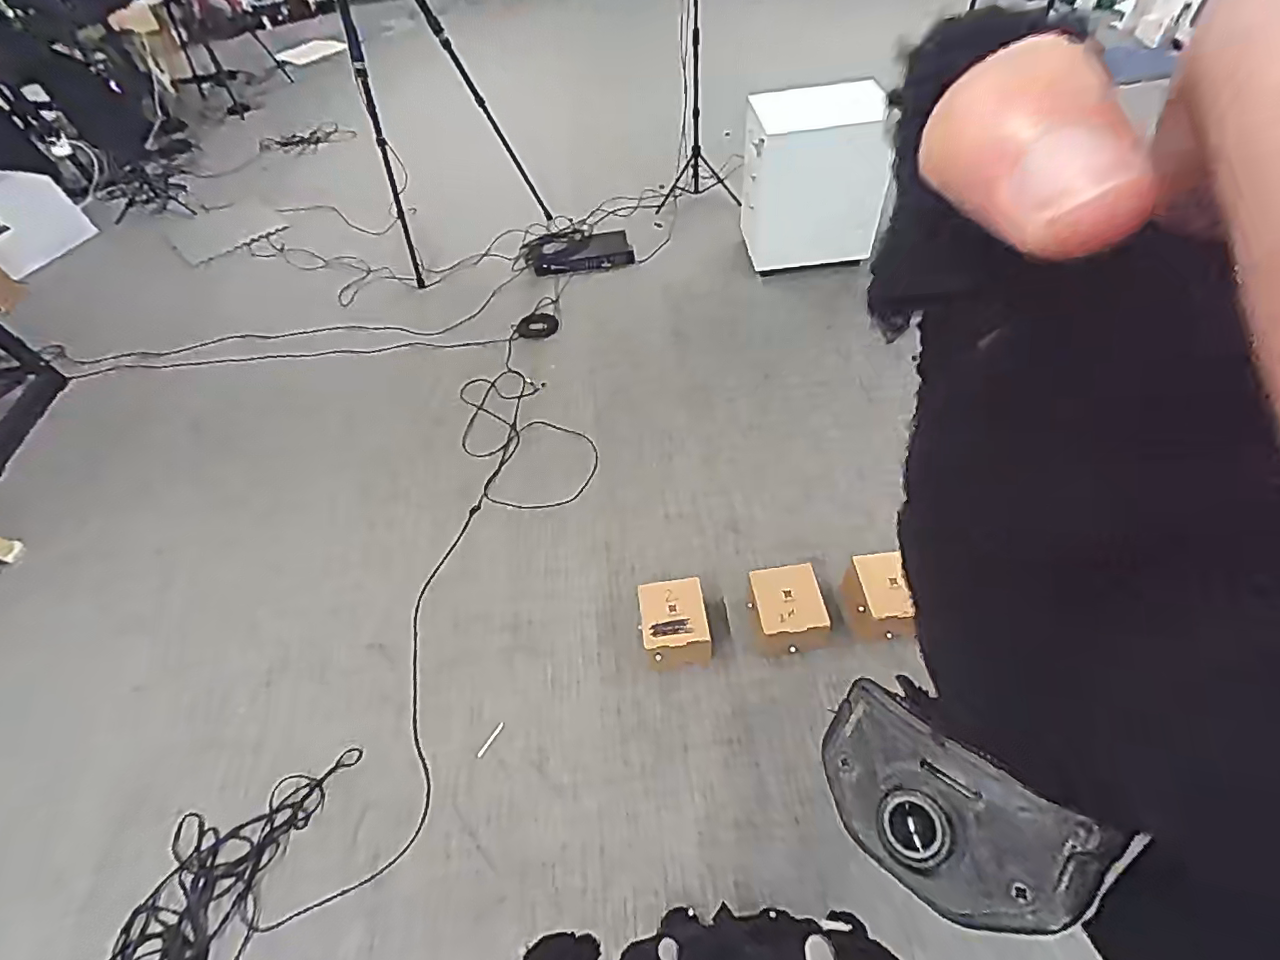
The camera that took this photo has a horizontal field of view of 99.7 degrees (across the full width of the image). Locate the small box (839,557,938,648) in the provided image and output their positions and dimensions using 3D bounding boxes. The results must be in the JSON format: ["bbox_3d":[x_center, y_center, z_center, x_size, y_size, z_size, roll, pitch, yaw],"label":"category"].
[{"bbox_3d":[0.642,0.325,1.425,0.168,0.176,0.179,-6,53,1],"label":"small box"}]

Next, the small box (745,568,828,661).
[{"bbox_3d":[0.376,0.357,1.426,0.168,0.176,0.179,-8,53,1],"label":"small box"}]
